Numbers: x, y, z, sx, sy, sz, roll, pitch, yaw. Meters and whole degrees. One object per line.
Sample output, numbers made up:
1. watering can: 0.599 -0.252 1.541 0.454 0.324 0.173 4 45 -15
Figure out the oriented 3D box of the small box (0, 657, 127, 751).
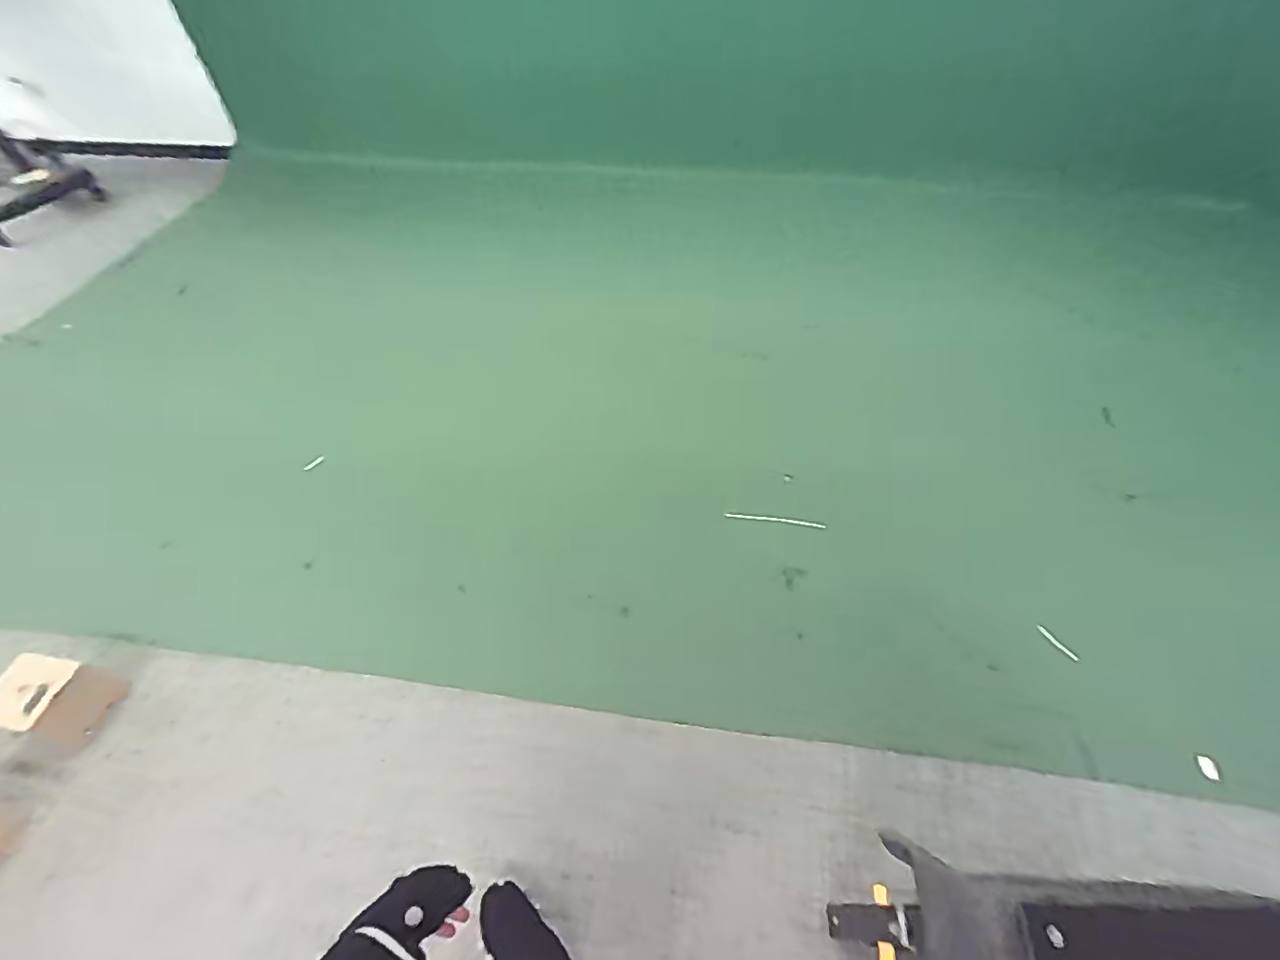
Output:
1. small box: -1.465 0.563 1.351 0.179 0.176 0.168 7 52 7
